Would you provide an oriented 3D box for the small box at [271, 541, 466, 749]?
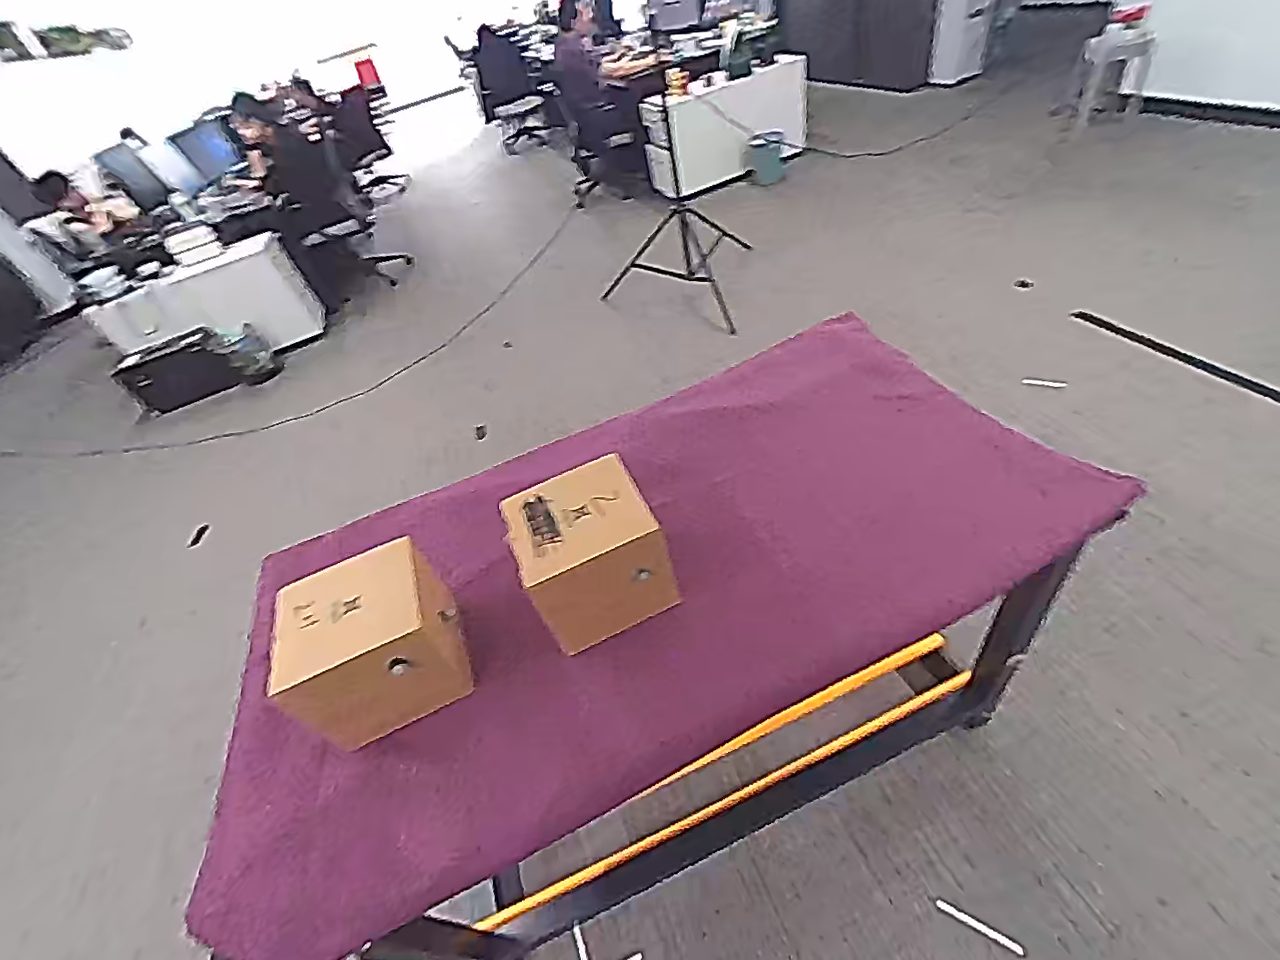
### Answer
[{"bbox_3d":[-0.348,0.220,0.724,0.179,0.176,0.168,-24,43,-10],"label":"small box"}]
